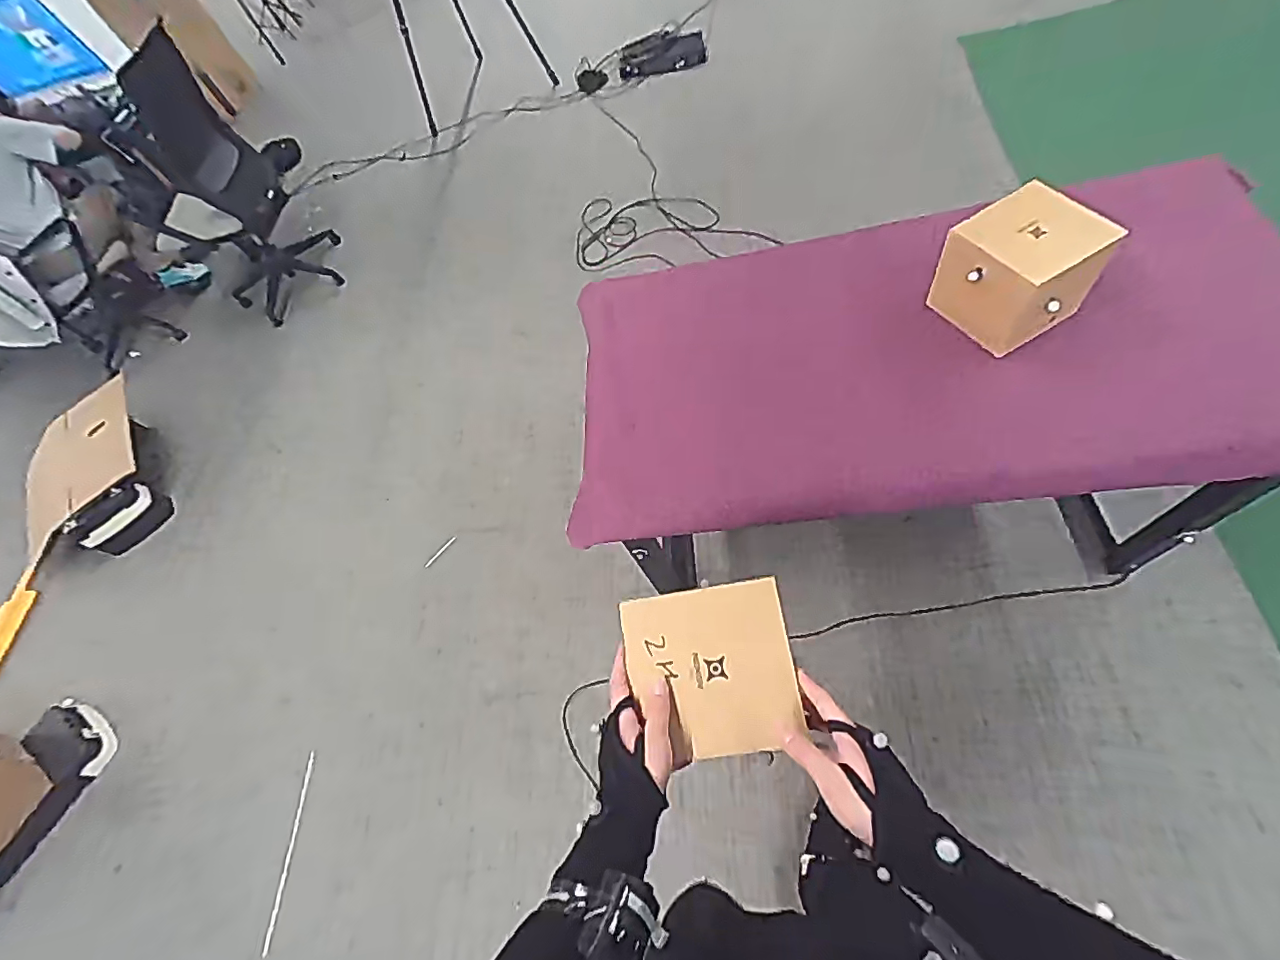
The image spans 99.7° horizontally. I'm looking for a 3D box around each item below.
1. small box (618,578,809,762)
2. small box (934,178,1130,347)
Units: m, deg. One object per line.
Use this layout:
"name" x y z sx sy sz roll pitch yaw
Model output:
"small box" 0.084 0.216 0.627 0.179 0.176 0.168 -11 69 9
"small box" 0.627 -0.346 0.894 0.168 0.176 0.179 -31 59 -1
